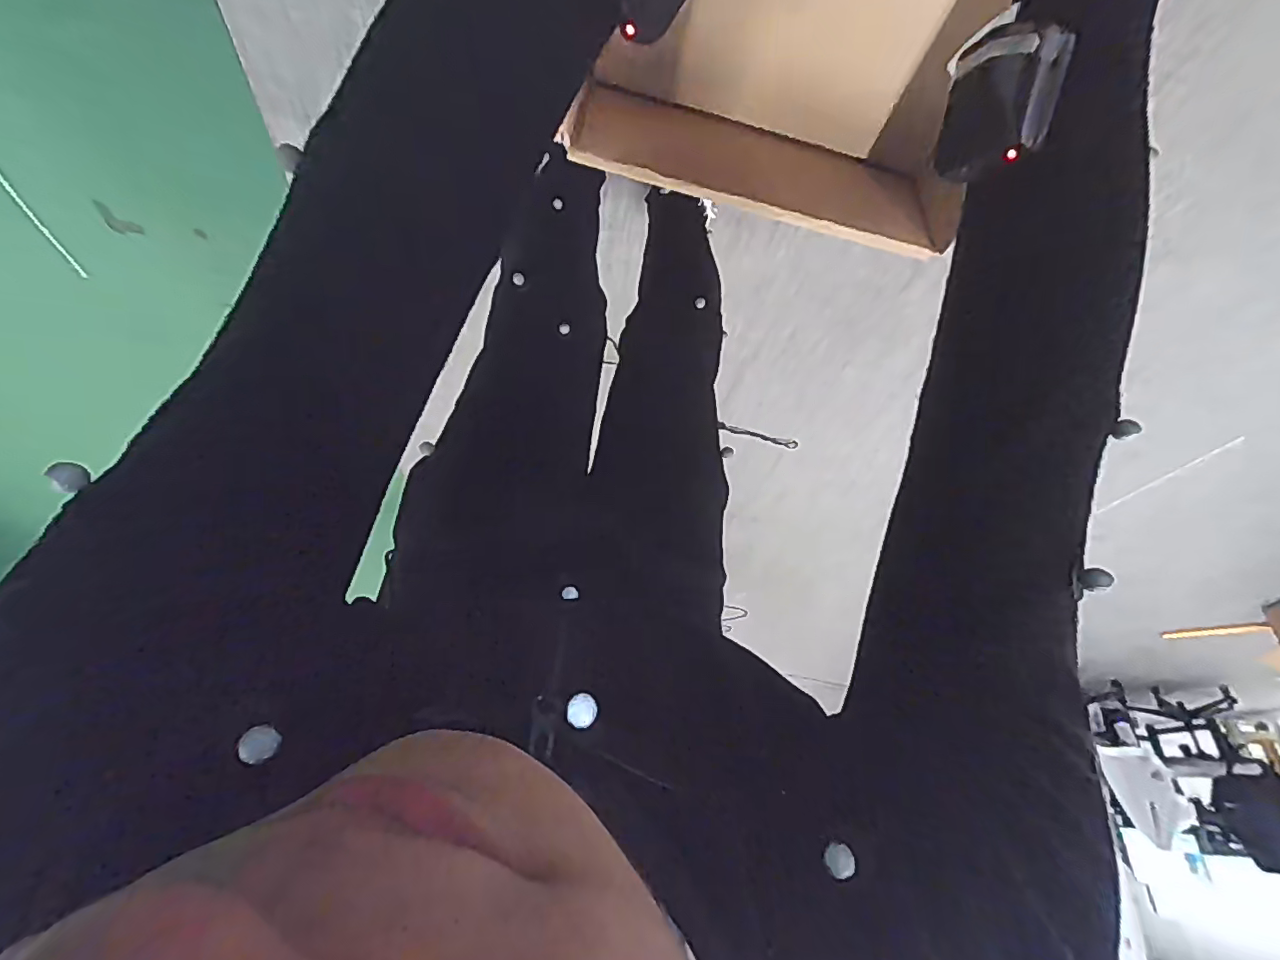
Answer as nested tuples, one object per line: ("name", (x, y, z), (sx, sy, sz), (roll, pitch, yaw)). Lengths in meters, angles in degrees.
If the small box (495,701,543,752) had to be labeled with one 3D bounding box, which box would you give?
("small box", (-0.501, 1.023, 2.243), (0.168, 0.176, 0.179), (11, 148, -8))
